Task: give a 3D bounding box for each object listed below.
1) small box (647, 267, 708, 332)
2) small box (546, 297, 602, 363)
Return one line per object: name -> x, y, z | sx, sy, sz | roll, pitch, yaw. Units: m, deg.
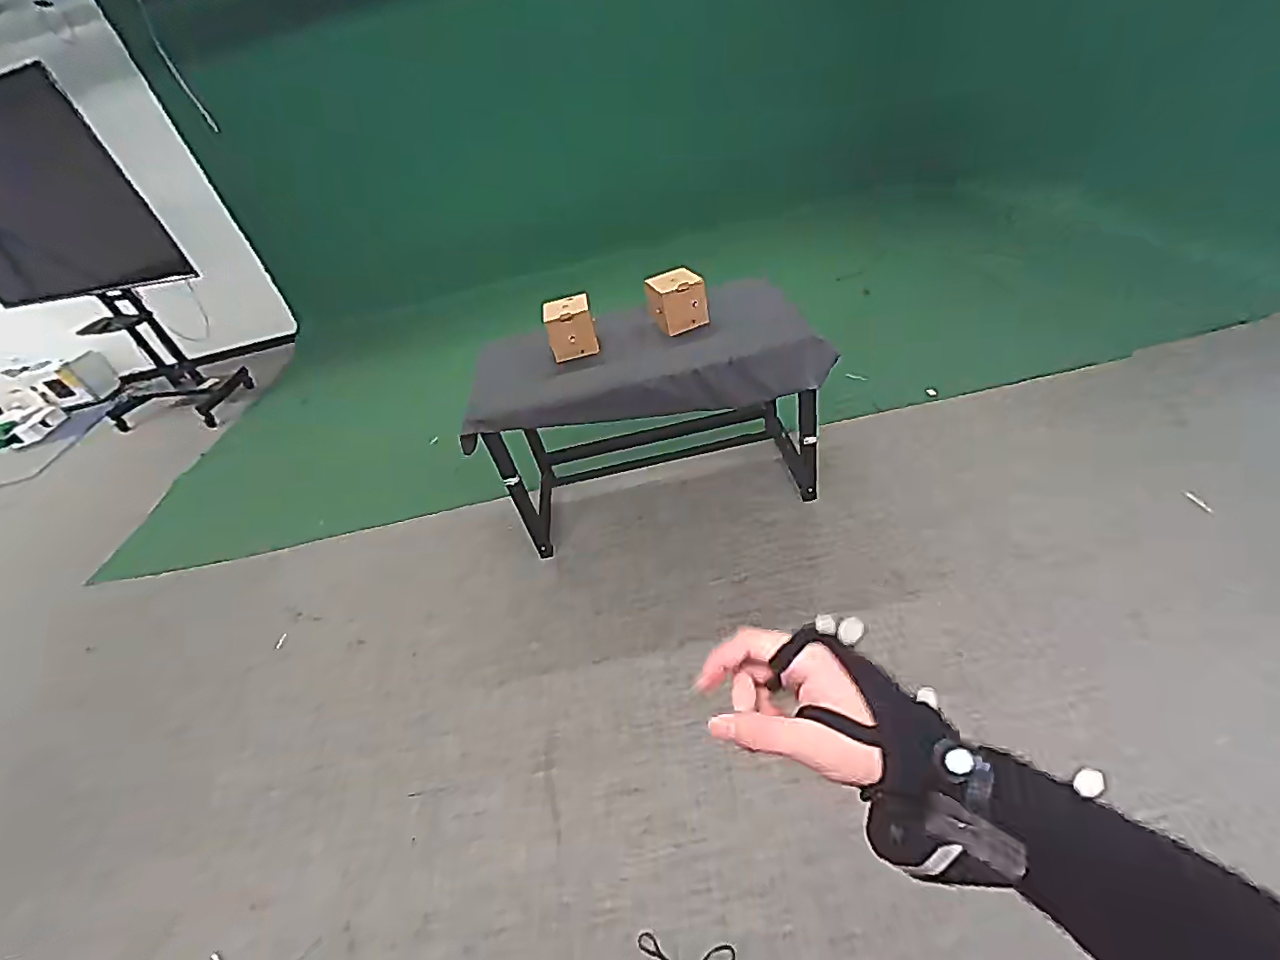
small box -> 0.142, -0.666, 2.005 | 0.168, 0.176, 0.179 | -19, 39, -9
small box -> -0.247, -0.556, 2.030 | 0.168, 0.176, 0.179 | -17, 39, 0
